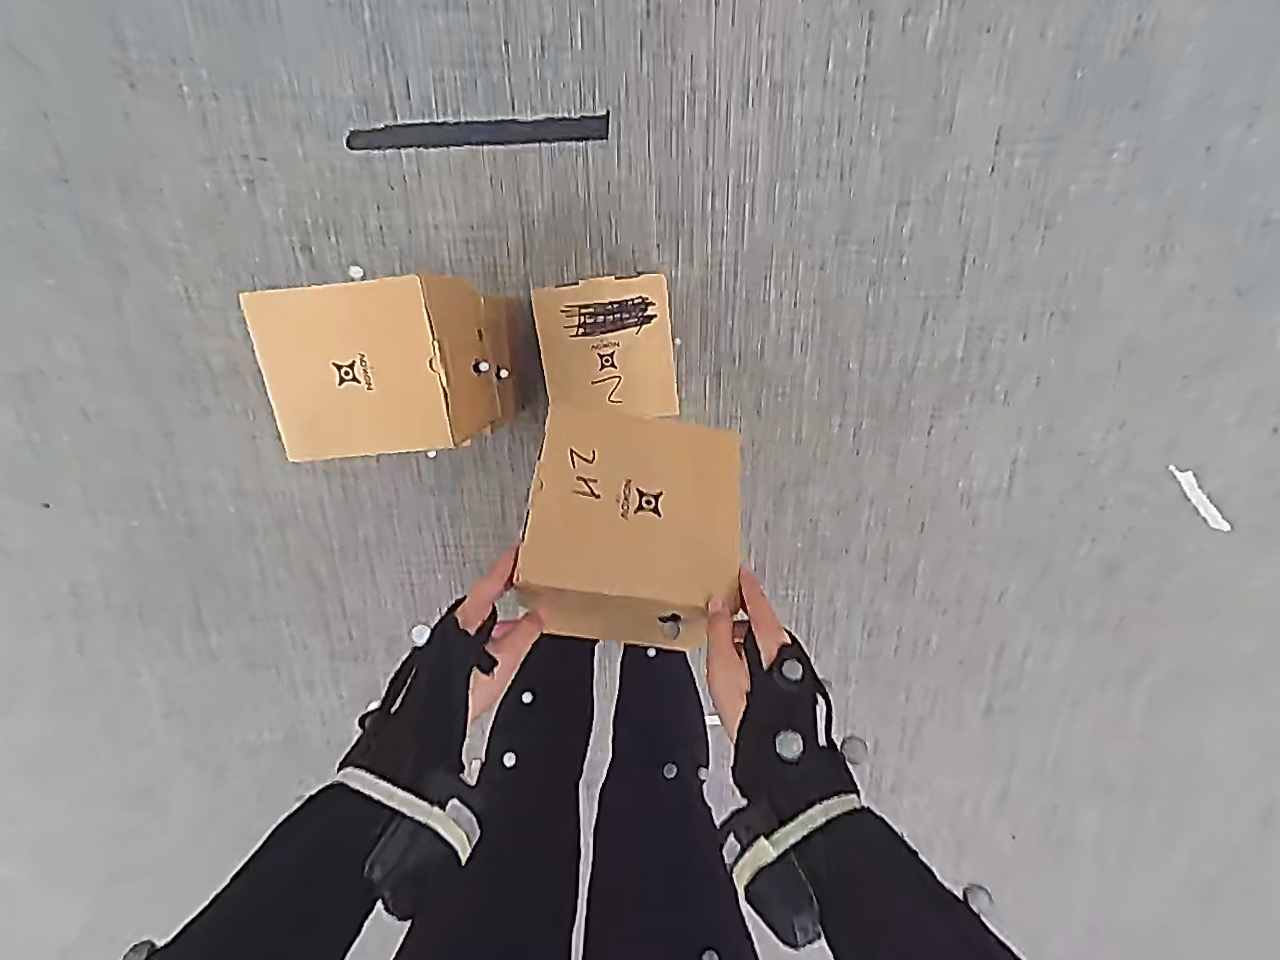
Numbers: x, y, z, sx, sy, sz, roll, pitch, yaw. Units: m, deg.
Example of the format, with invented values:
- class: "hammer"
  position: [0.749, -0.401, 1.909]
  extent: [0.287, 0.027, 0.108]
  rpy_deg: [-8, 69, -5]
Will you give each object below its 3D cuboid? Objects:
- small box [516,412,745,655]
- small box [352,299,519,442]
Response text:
- class: "small box"
  position: [-0.011, 0.061, 0.511]
  extent: [0.179, 0.168, 0.176]
  rpy_deg: [8, 150, -5]
- class: "small box"
  position: [-0.269, -0.158, 0.756]
  extent: [0.168, 0.176, 0.179]
  rpy_deg: [1, 106, 1]
